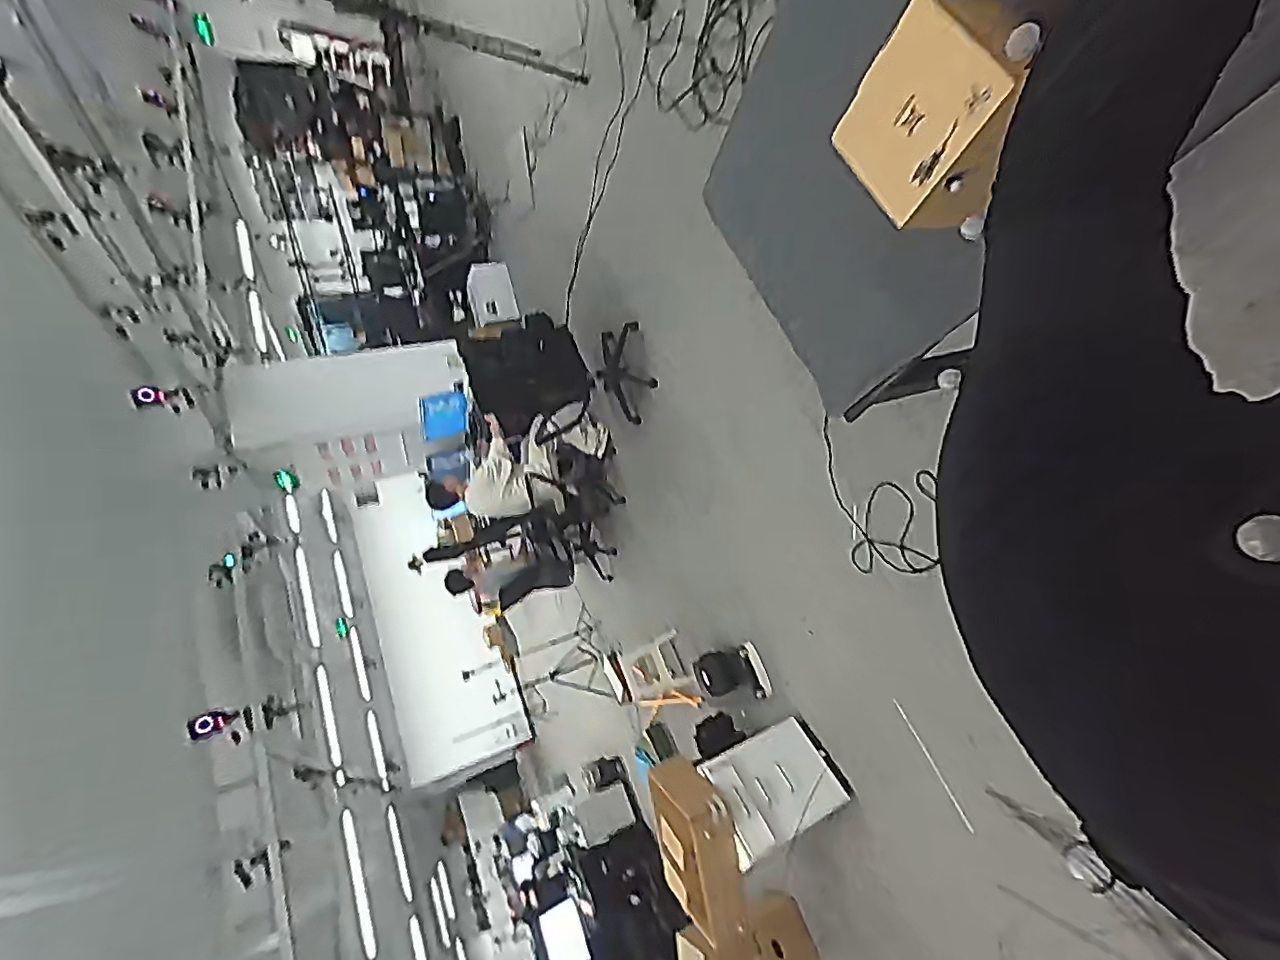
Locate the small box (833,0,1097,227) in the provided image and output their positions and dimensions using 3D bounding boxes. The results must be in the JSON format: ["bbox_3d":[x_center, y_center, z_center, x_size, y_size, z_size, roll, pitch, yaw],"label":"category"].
[{"bbox_3d":[0.379,-0.430,0.651,0.168,0.176,0.179,121,132,-59],"label":"small box"}]
